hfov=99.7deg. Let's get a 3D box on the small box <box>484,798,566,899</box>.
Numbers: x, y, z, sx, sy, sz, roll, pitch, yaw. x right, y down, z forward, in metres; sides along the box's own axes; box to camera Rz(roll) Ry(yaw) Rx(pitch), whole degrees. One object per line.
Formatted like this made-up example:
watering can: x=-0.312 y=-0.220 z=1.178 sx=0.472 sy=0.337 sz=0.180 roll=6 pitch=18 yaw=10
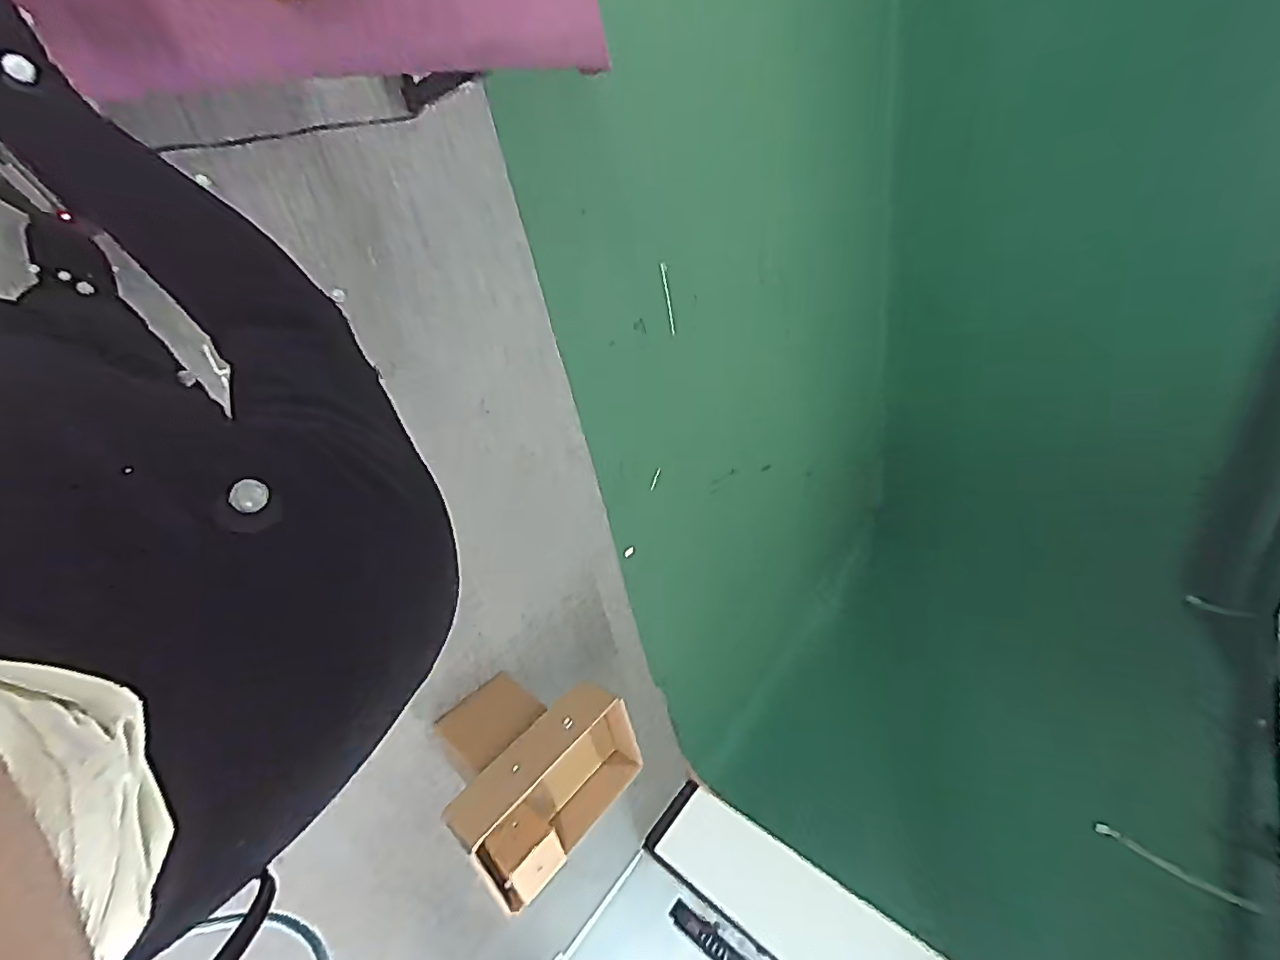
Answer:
small box: x=-0.368 y=1.165 z=1.725 sx=0.168 sy=0.176 sz=0.179 roll=-34 pitch=124 yaw=-35
